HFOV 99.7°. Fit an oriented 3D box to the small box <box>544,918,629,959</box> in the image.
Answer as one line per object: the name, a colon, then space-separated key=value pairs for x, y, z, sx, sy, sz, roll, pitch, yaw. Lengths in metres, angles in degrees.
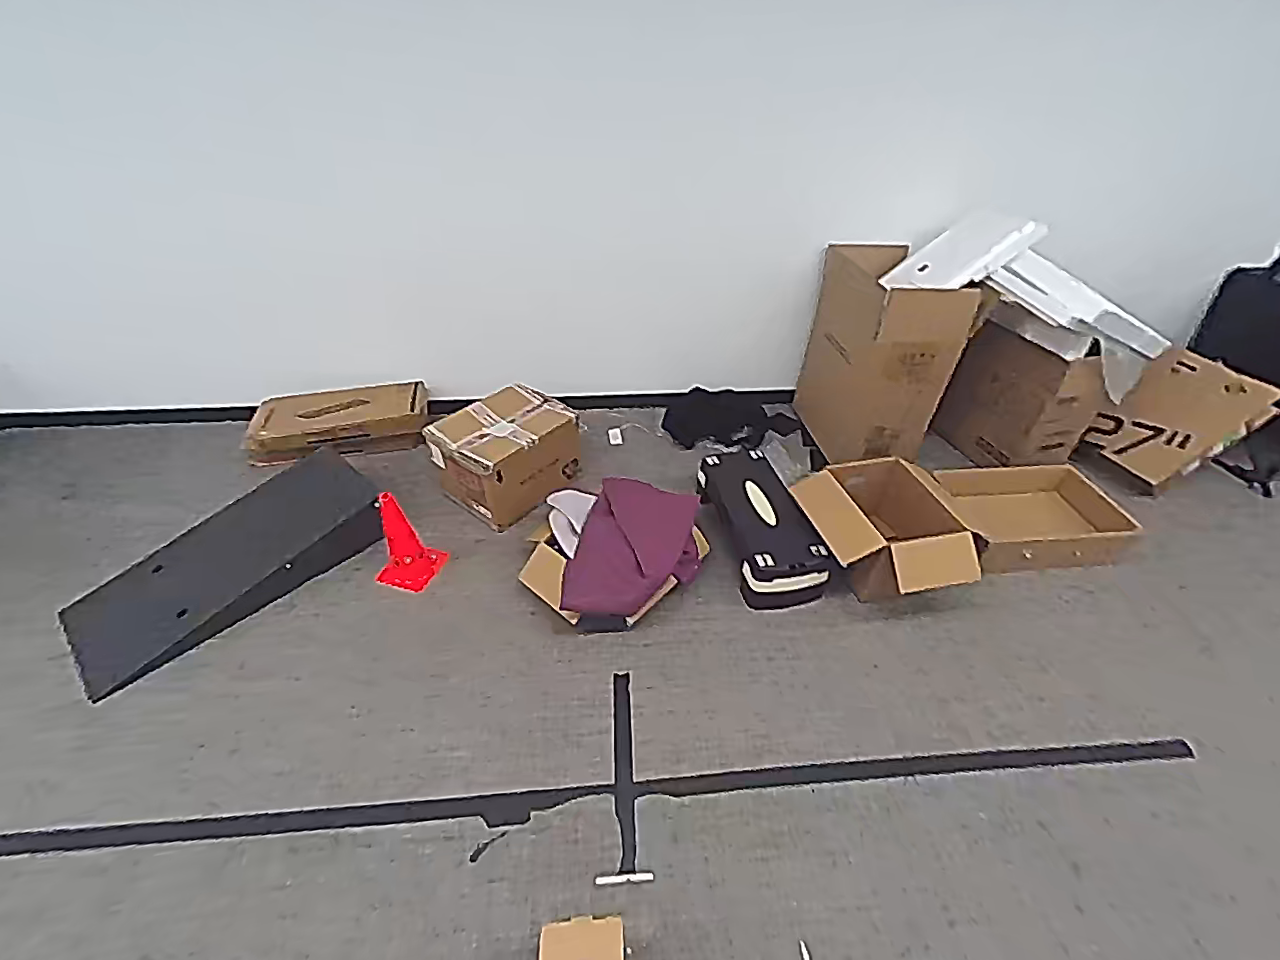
small box: x=-0.103 y=1.000 z=1.067 sx=0.168 sy=0.176 sz=0.179 roll=-3 pitch=40 yaw=-2
